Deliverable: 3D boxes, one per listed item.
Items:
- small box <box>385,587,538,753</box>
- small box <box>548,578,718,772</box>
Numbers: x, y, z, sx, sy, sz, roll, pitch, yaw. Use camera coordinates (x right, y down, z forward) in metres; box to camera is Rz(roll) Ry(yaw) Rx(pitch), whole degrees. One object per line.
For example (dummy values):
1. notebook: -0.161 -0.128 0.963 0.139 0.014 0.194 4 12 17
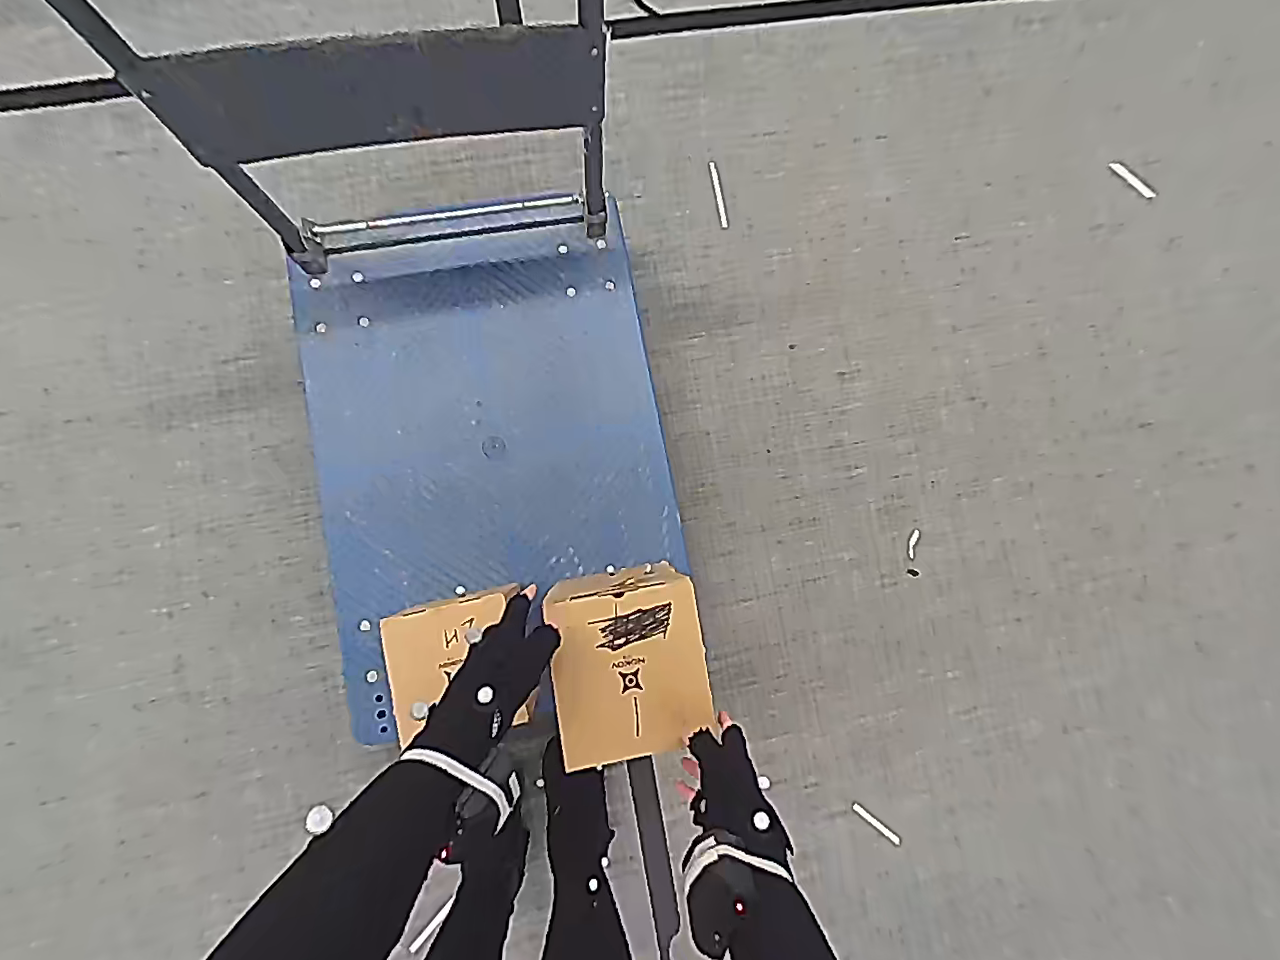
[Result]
1. small box: -0.249 0.263 0.792 0.168 0.176 0.179 -11 84 -7
2. small box: -0.017 0.216 0.653 0.168 0.176 0.179 -8 85 -6
